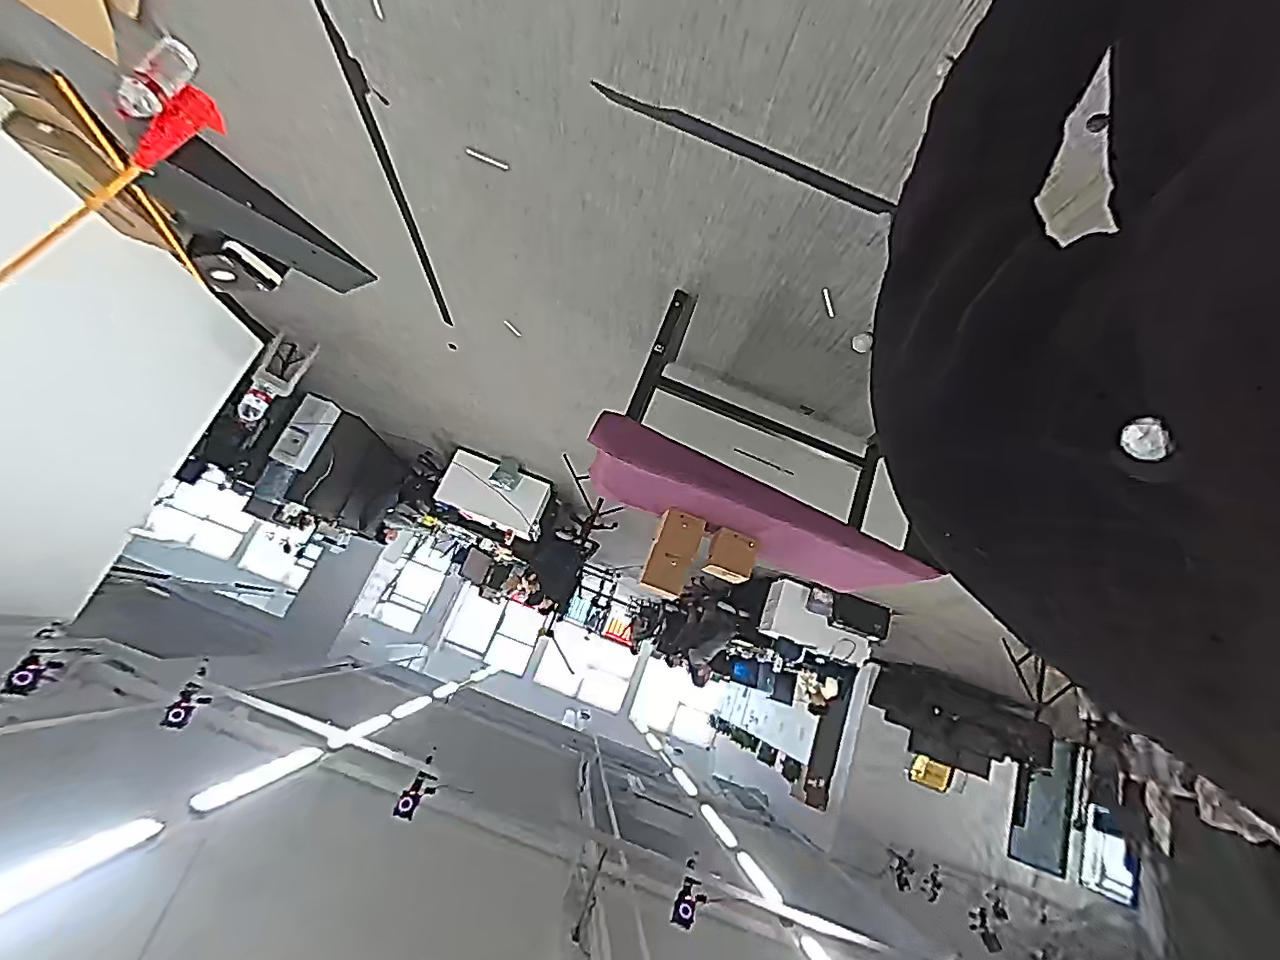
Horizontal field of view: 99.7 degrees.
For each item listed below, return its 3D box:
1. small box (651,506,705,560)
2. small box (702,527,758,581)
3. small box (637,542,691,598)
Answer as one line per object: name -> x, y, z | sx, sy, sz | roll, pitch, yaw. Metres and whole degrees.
small box -> 0.159, 0.227, 2.254 | 0.168, 0.176, 0.179 | 21, 162, -2
small box -> 0.377, 0.306, 2.242 | 0.168, 0.176, 0.179 | 22, 163, -1
small box -> 0.098, 0.370, 2.210 | 0.168, 0.176, 0.179 | 20, 161, 0
